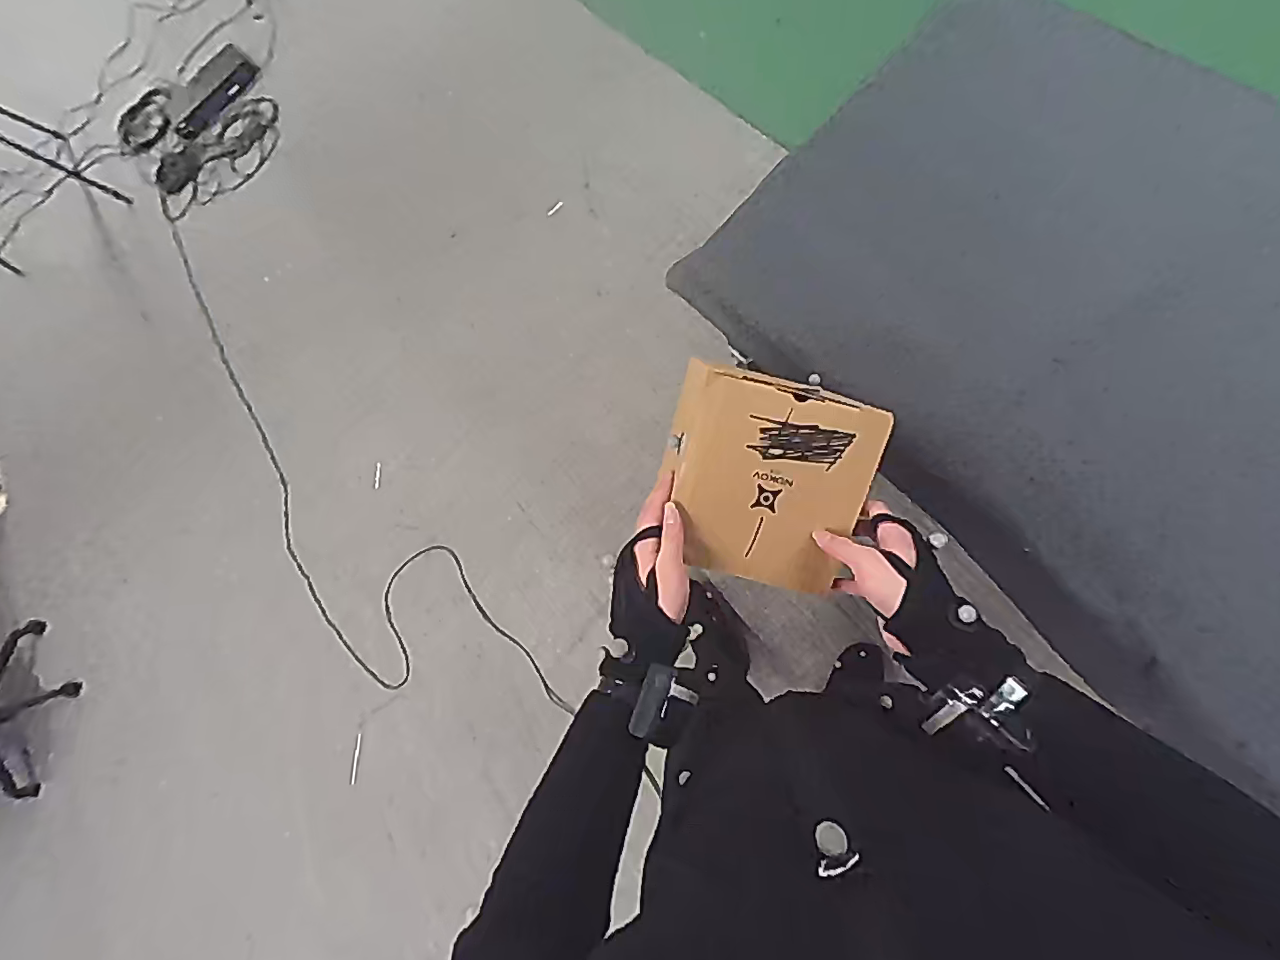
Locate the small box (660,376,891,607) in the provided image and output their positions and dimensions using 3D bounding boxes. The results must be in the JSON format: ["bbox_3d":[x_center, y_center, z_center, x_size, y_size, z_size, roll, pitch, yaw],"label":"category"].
[{"bbox_3d":[0.117,-0.002,0.556,0.168,0.176,0.179,14,106,-3],"label":"small box"}]
